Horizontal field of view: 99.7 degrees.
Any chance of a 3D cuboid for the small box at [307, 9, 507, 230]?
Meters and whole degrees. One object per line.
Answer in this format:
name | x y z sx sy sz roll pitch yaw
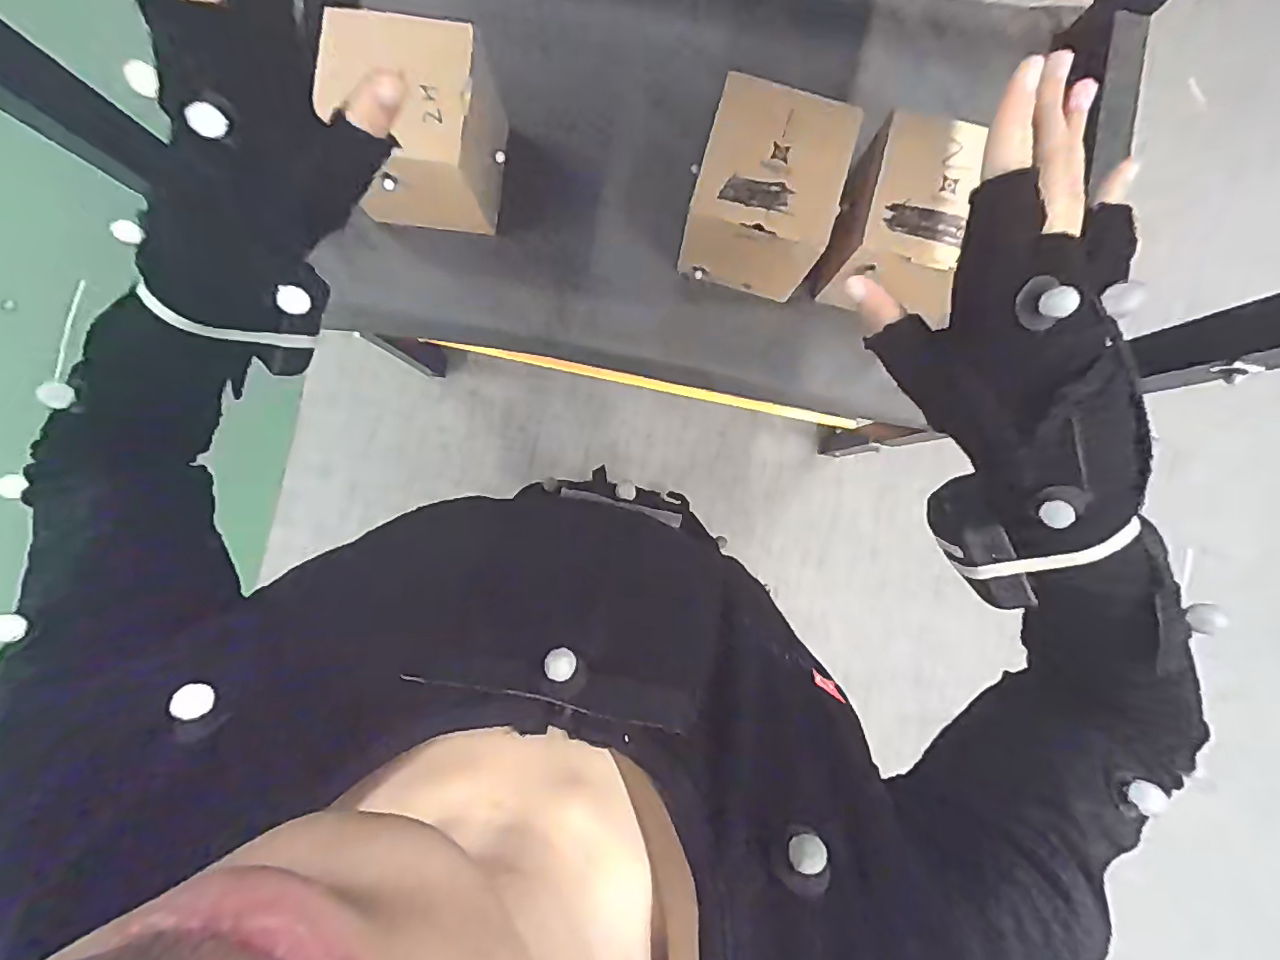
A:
small box | -0.284 -0.445 0.696 0.179 0.176 0.168 7 89 -1
